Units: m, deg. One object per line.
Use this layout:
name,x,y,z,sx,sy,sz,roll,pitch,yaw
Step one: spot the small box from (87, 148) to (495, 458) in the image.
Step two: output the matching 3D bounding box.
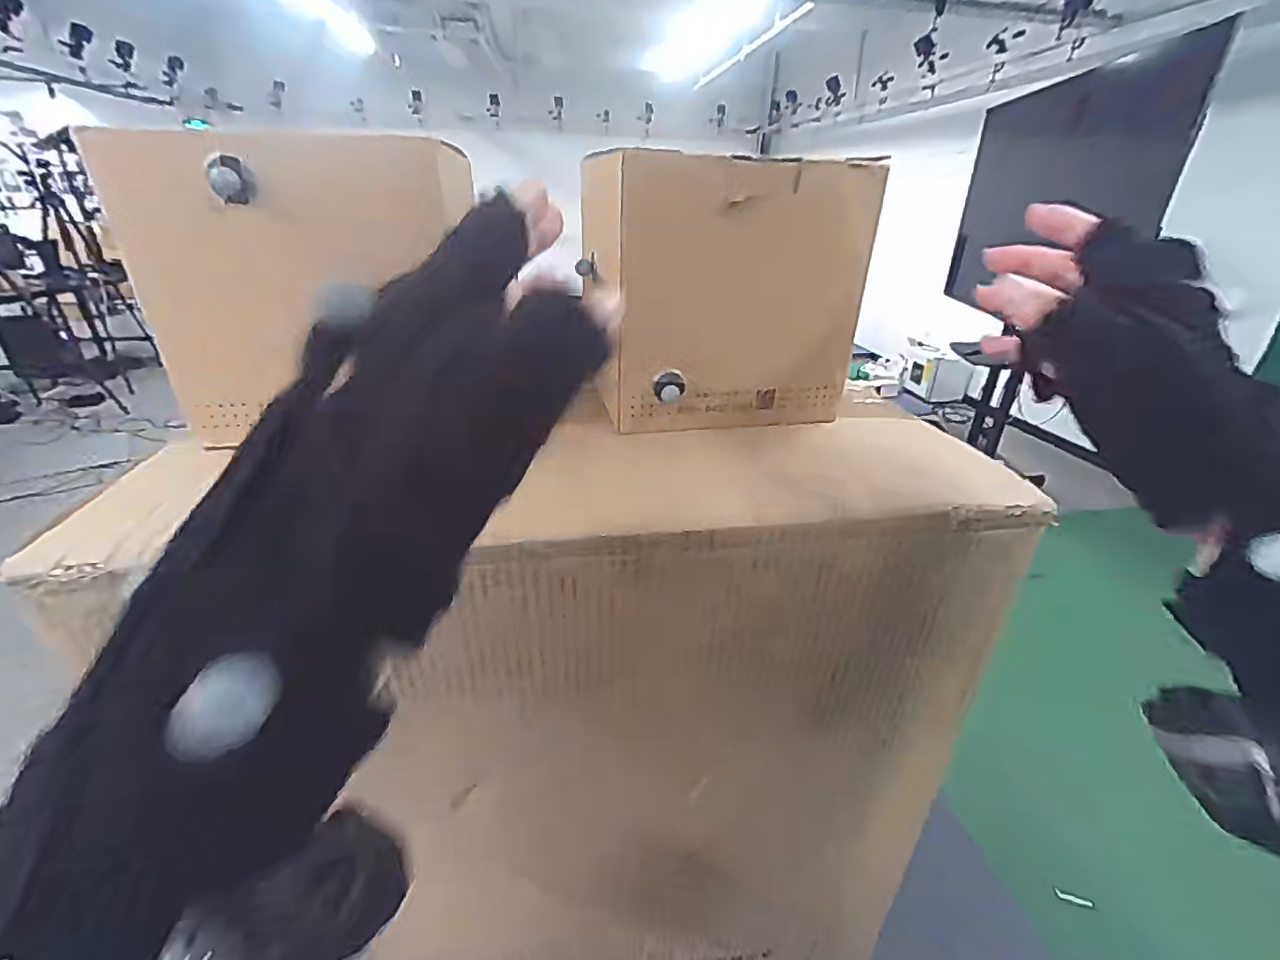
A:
small box,-0.201,-0.127,0.380,0.168,0.176,0.179,-6,27,-7

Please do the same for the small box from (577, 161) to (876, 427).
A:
small box,0.046,-0.144,0.417,0.168,0.176,0.179,-5,28,-12
